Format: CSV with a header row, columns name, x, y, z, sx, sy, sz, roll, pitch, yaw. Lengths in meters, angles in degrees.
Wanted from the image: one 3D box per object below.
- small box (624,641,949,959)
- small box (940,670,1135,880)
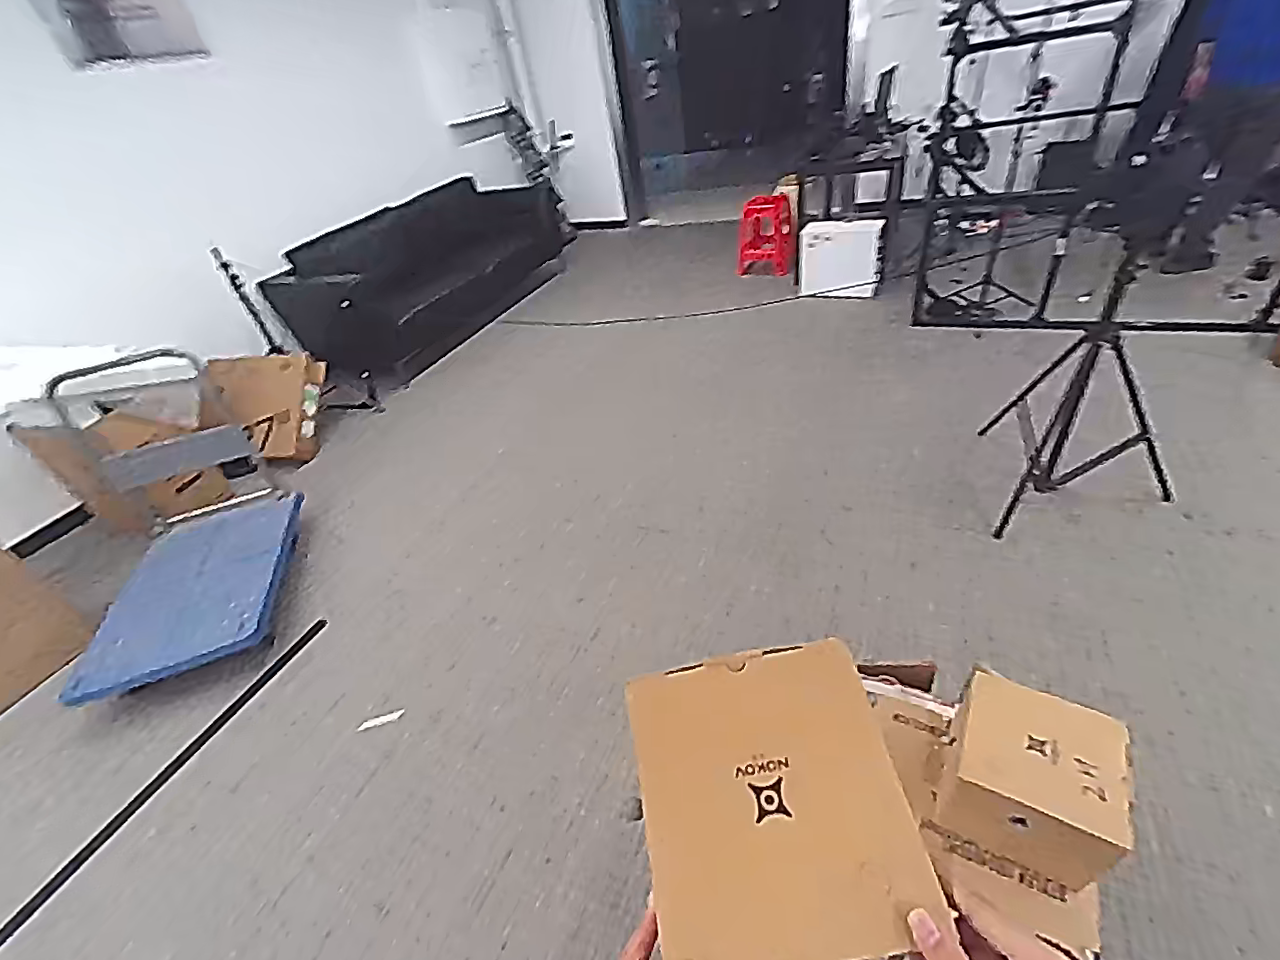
name,x,y,z,sx,sy,sz,roll,pitch,yaw
small box,0.092,0.248,0.411,0.168,0.176,0.179,-12,53,1
small box,0.529,0.401,0.739,0.179,0.176,0.168,16,48,28
